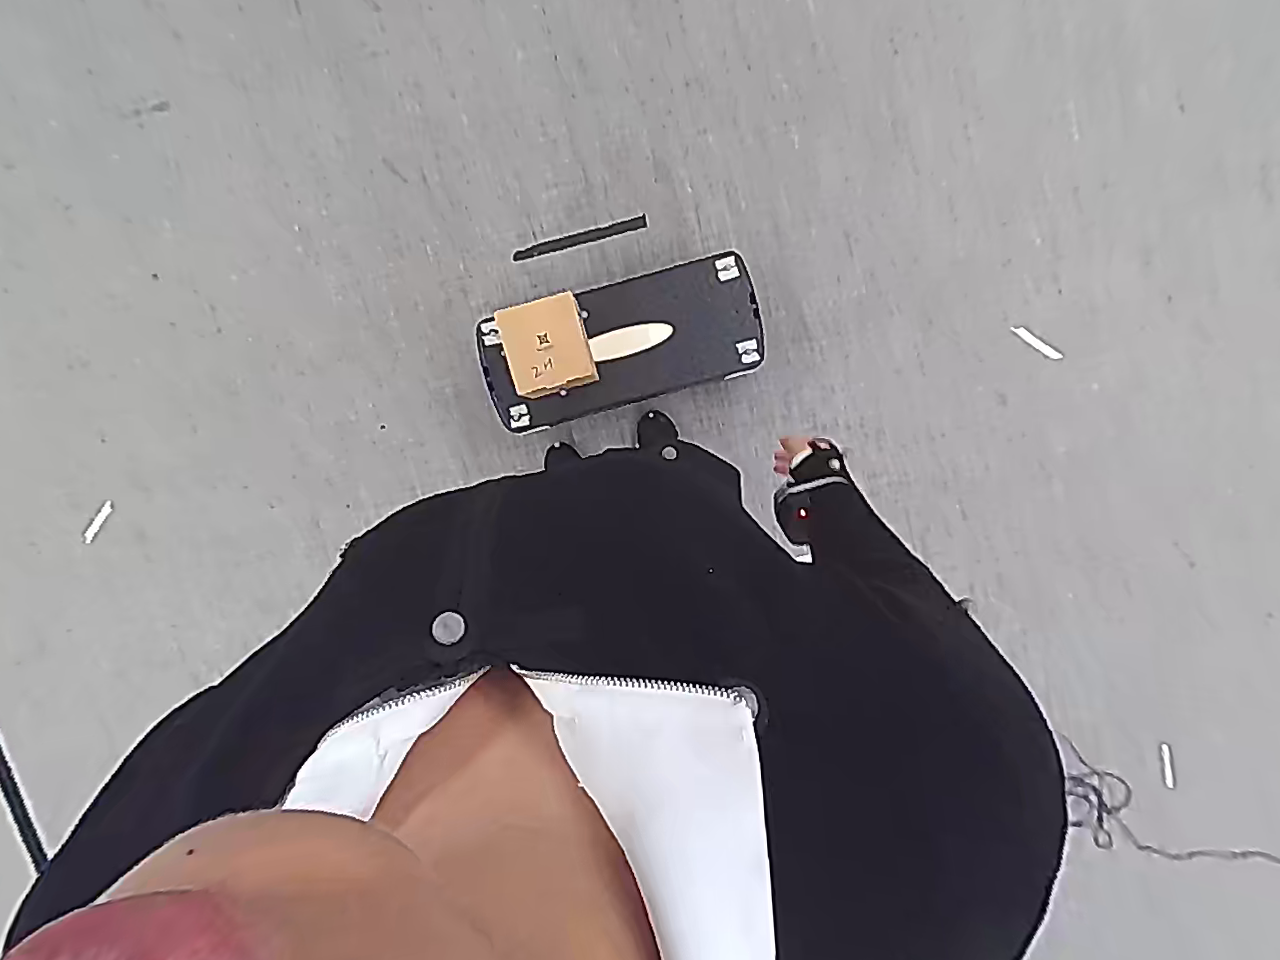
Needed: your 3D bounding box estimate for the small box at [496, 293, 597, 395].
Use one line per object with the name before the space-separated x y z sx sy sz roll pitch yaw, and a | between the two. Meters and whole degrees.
small box | -0.196 -0.283 1.177 0.168 0.176 0.179 -15 97 1
